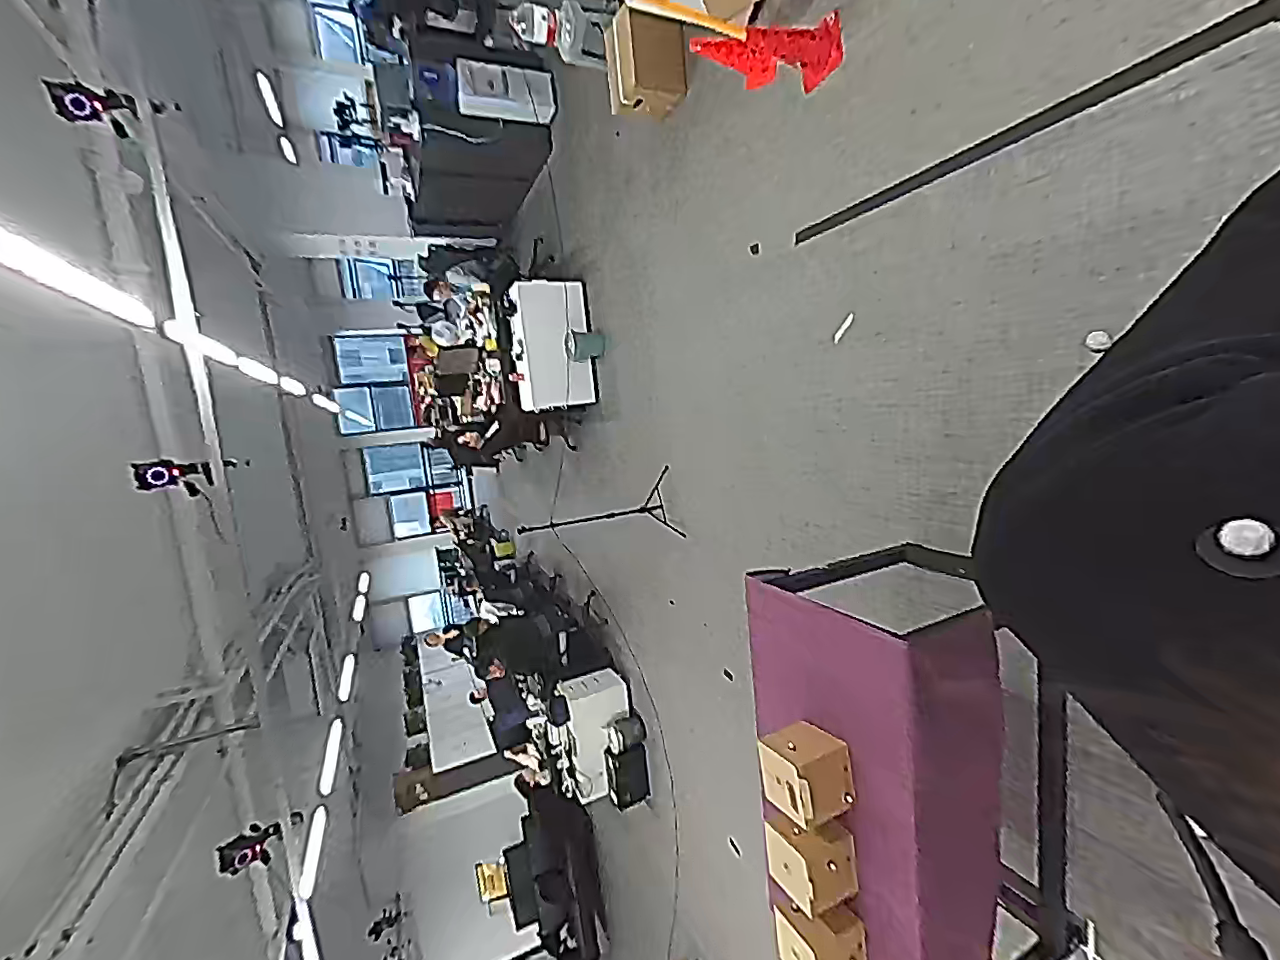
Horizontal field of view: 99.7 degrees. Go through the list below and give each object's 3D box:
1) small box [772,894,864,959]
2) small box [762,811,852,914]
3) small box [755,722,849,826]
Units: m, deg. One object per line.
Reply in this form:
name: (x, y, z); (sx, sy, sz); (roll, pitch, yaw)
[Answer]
small box: (0.495, 1.274, 1.506); (0.179, 0.176, 0.168); (-178, 79, -66)
small box: (0.464, 1.026, 1.492); (0.179, 0.176, 0.168); (-174, 77, -66)
small box: (0.439, 0.777, 1.454); (0.179, 0.176, 0.168); (172, 89, -67)
